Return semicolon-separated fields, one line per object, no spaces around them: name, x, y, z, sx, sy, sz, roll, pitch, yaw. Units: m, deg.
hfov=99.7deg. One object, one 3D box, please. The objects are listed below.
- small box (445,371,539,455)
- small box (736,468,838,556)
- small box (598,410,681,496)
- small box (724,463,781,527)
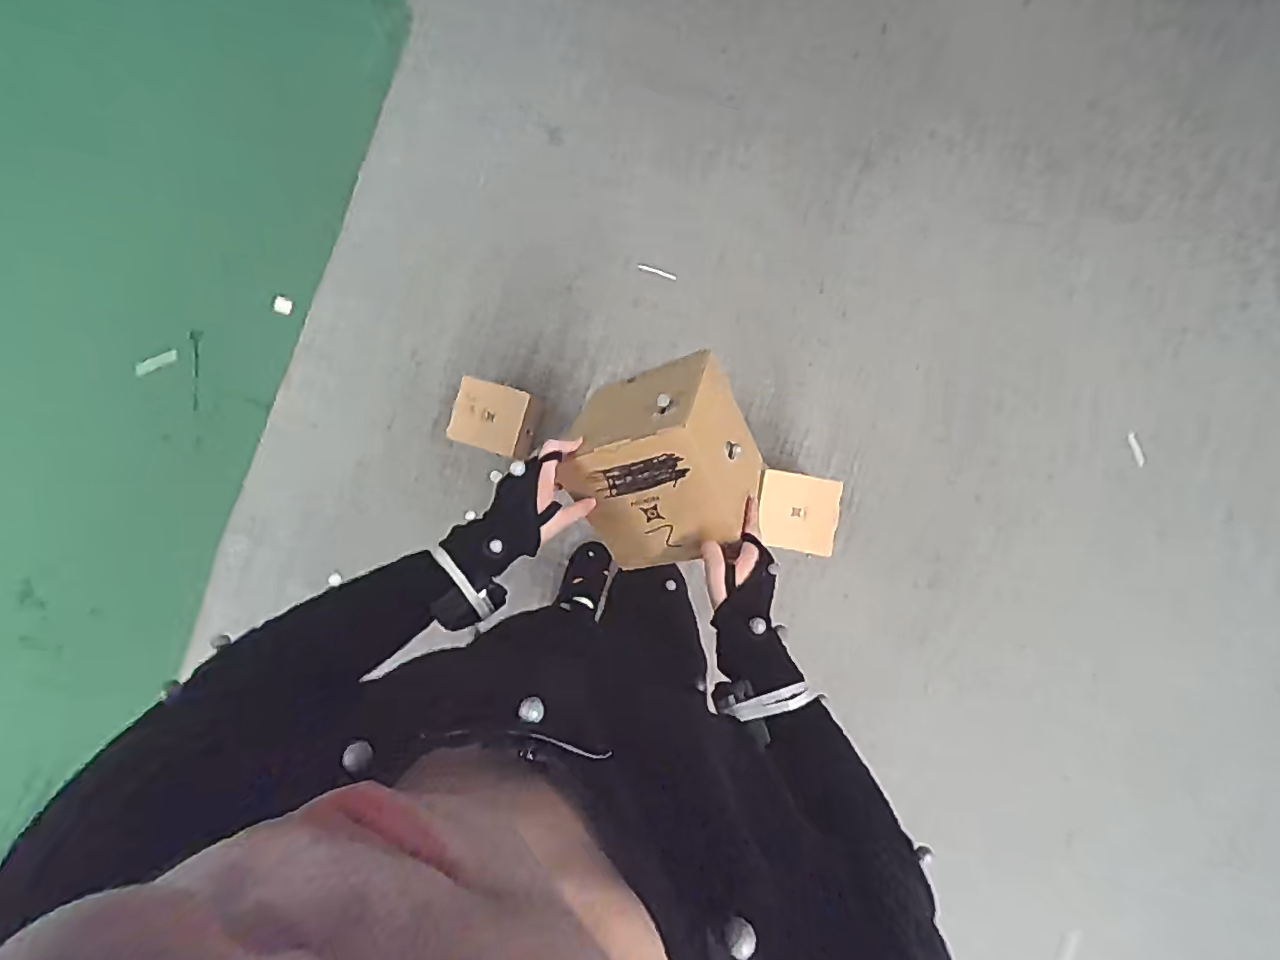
small box;-0.376;-0.167;1.412;0.179;0.176;0.168;18;88;0
small box;0.330;0.073;1.250;0.179;0.176;0.168;11;89;-1
small box;0.000;-0.065;1.412;0.168;0.176;0.179;18;88;0
small box;0.331;0.060;1.413;0.179;0.176;0.168;16;89;-1
